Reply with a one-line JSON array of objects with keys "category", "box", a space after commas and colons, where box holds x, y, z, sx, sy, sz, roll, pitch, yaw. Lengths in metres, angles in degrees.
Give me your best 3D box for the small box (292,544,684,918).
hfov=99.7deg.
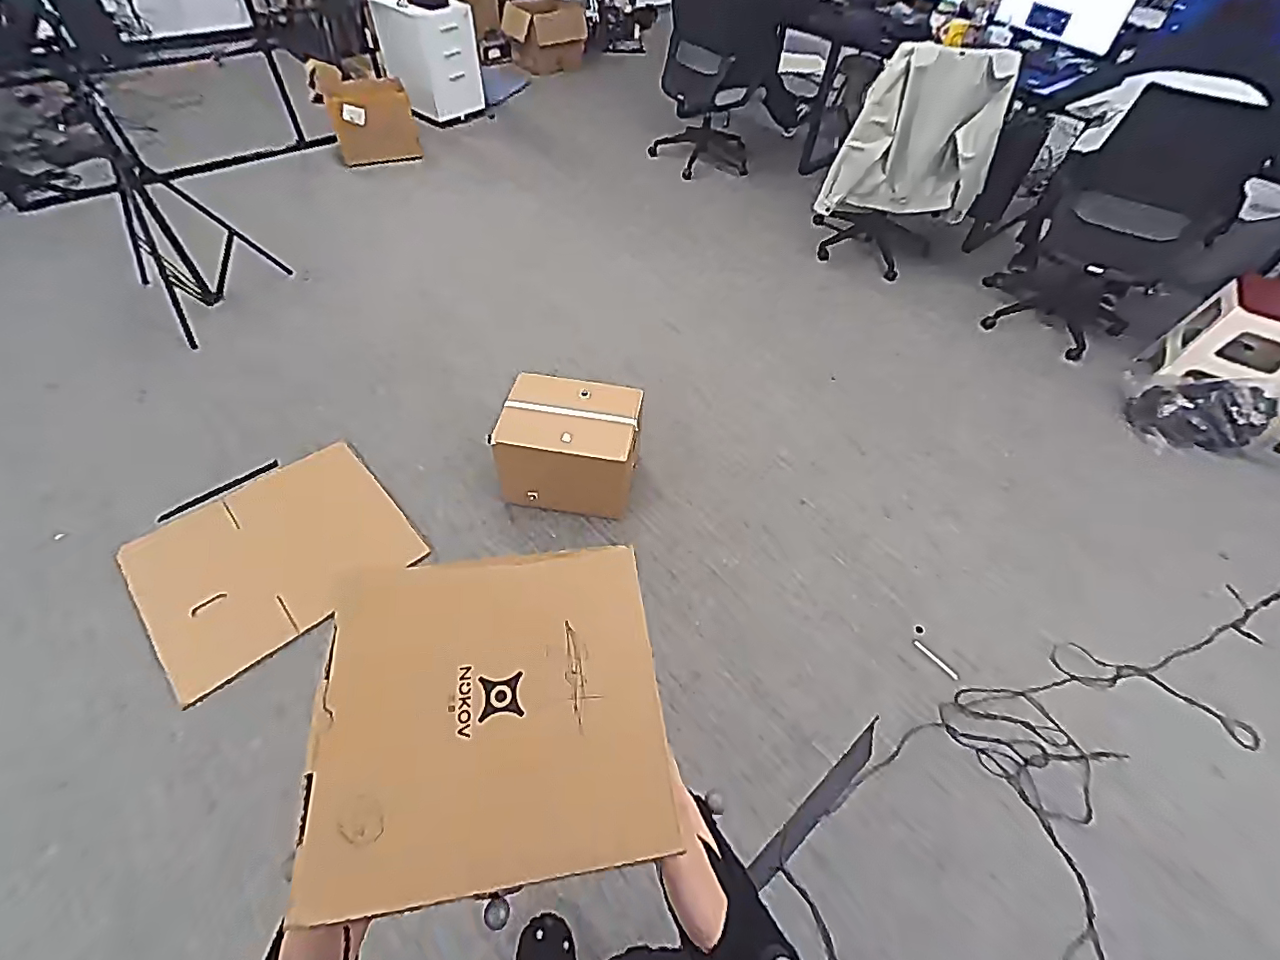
[{"category": "small box", "box": [-0.081, 0.161, 0.350, 0.179, 0.176, 0.168, -6, 55, -10]}]
